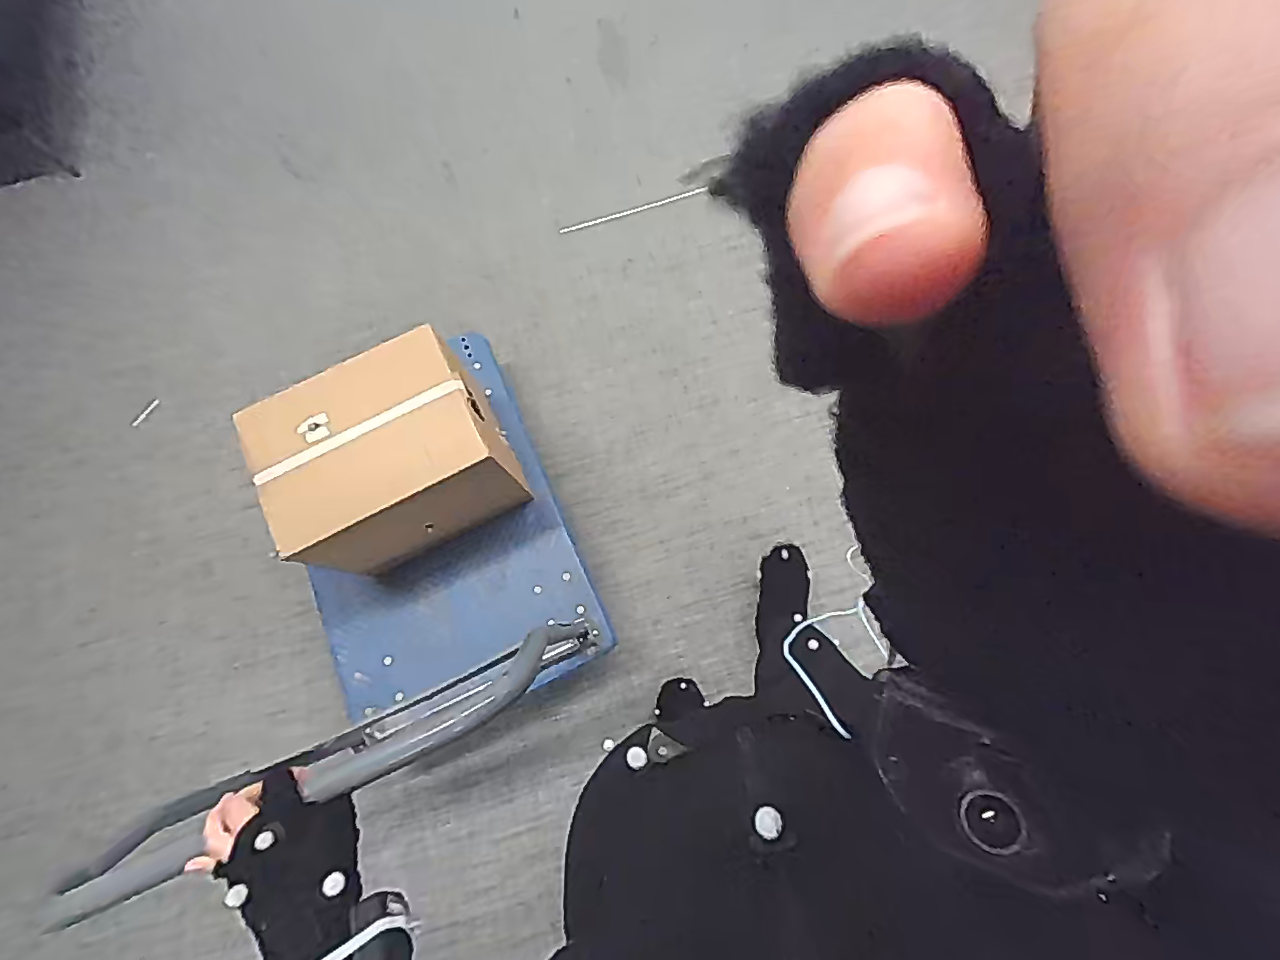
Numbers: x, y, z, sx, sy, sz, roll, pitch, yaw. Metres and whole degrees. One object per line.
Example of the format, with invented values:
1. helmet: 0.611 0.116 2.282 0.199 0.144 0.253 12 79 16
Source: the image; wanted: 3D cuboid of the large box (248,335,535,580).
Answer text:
1. large box: -0.496 -0.025 1.147 0.408 0.320 0.320 -28 73 -3
